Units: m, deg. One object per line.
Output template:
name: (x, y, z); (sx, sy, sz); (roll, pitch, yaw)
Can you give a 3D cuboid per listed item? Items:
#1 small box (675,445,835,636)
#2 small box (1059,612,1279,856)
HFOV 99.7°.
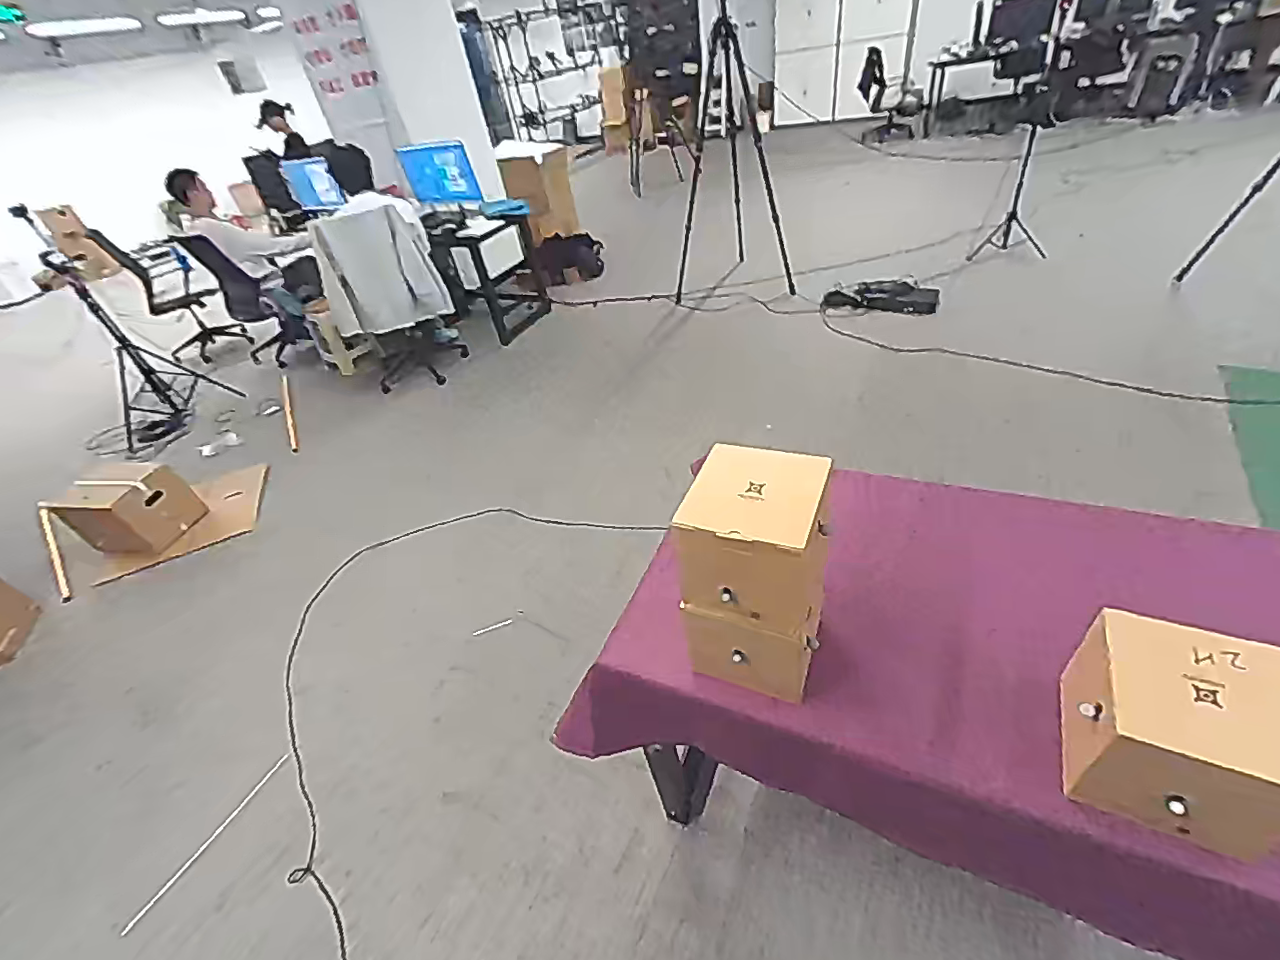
small box: (0.161, 0.079, 0.743); (0.168, 0.176, 0.179); (10, 44, 25)
small box: (0.617, 0.293, 0.632); (0.168, 0.176, 0.179); (13, 45, 27)
